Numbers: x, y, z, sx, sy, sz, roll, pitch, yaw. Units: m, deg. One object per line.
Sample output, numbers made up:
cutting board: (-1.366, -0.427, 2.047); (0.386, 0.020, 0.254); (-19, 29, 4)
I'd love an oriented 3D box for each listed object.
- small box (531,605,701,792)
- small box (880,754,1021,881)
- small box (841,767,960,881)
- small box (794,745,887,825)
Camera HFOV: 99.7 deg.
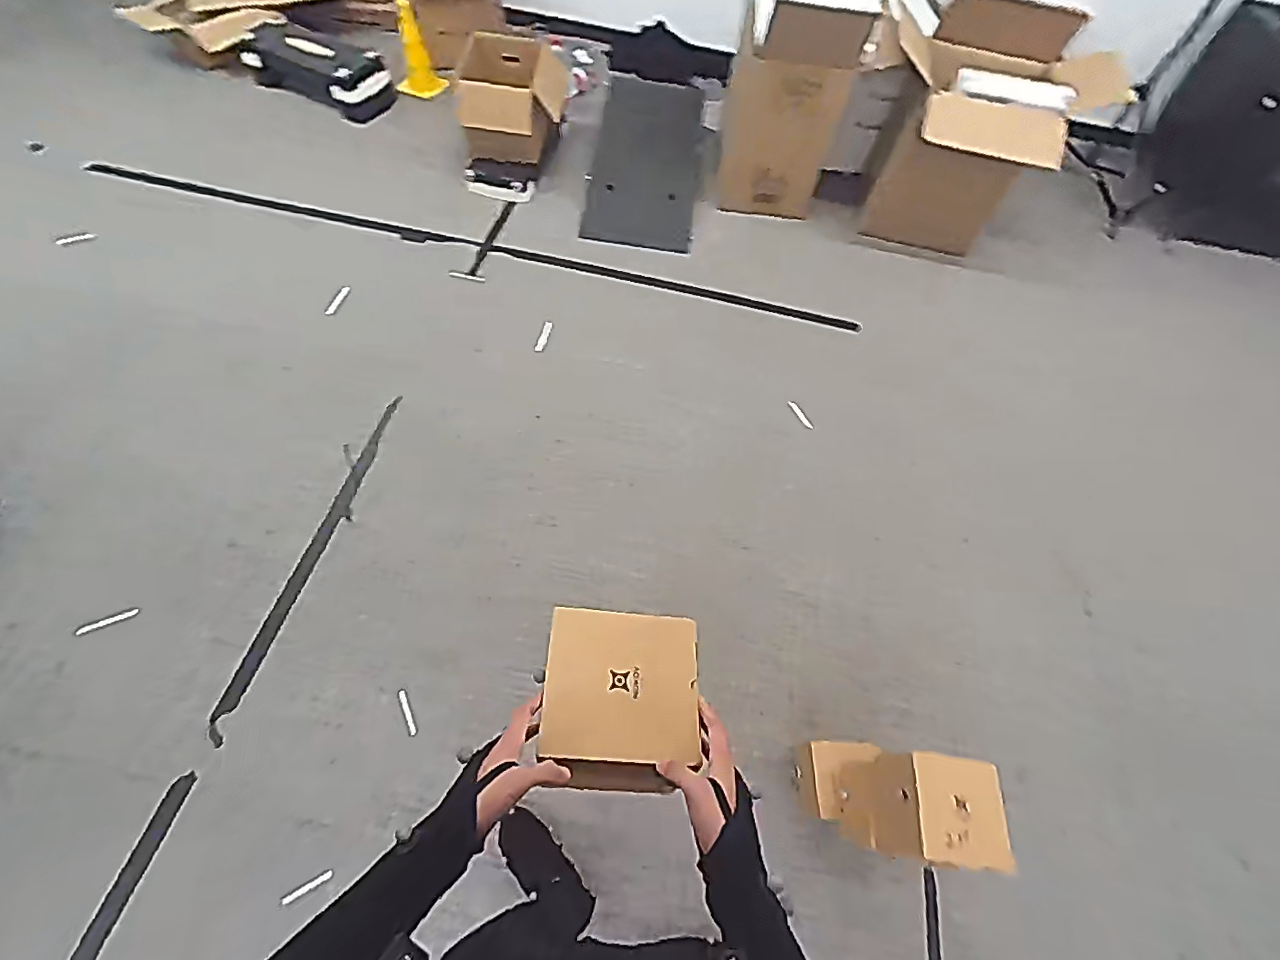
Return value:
small box: (-0.034, 0.268, 0.652); (0.179, 0.176, 0.168); (7, 50, -7)
small box: (0.580, 0.641, 1.039); (0.168, 0.176, 0.179); (10, 60, 0)
small box: (0.561, 0.735, 1.173); (0.179, 0.176, 0.168); (17, 59, 4)
small box: (0.501, 0.757, 1.343); (0.179, 0.176, 0.168); (4, 60, -3)
